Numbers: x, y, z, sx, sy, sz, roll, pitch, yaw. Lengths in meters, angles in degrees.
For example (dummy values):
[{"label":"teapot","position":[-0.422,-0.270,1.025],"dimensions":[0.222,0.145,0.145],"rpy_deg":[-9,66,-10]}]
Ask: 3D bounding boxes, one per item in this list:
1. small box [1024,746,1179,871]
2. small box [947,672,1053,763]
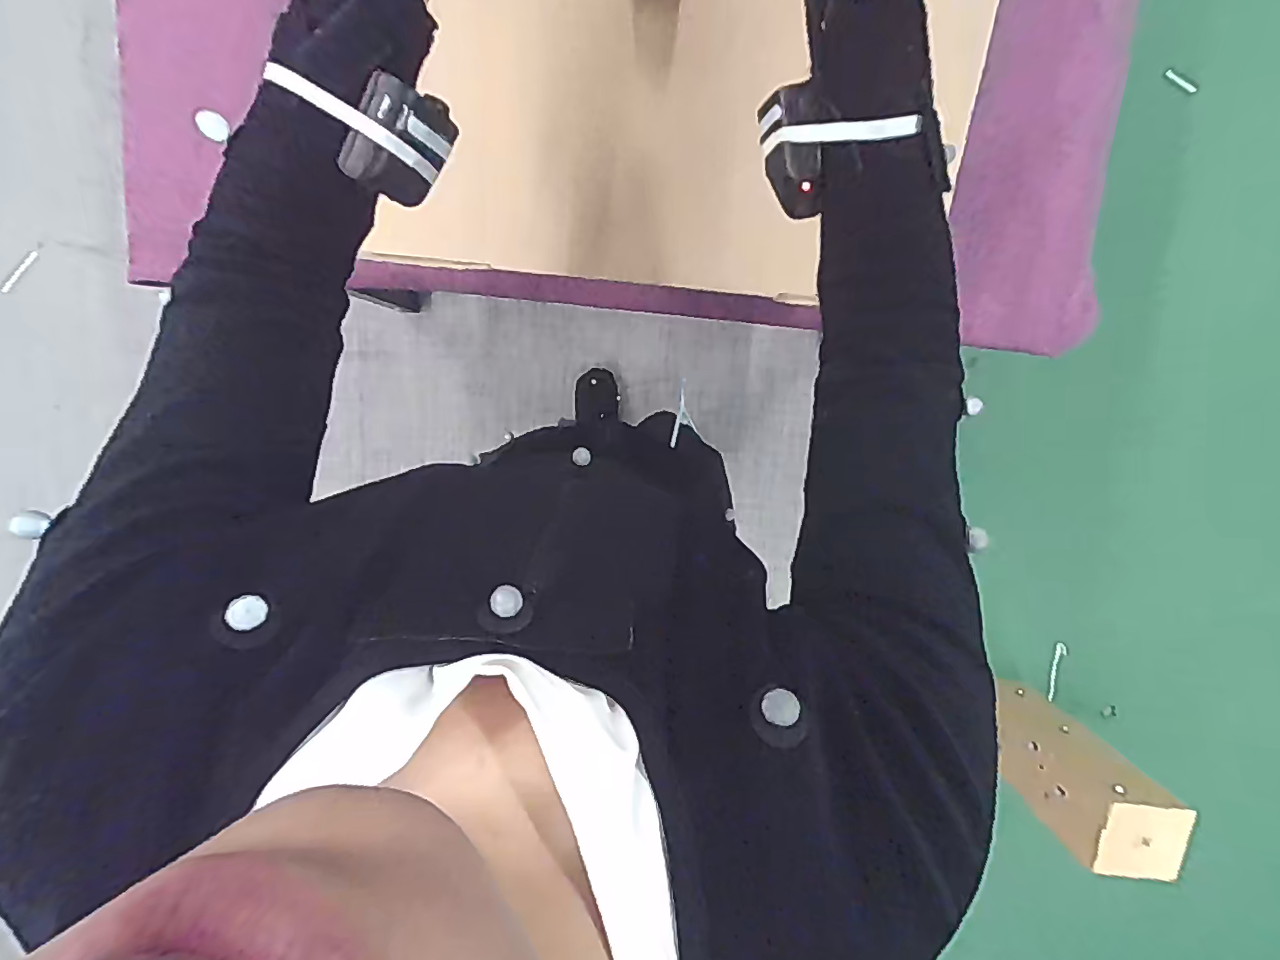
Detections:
[{"label":"small box","position":[0.999,0.712,1.186],"dimensions":[0.179,0.176,0.168],"rpy_deg":[6,100,-2]},{"label":"small box","position":[0.993,0.656,1.509],"dimensions":[0.179,0.176,0.168],"rpy_deg":[5,99,0]}]
